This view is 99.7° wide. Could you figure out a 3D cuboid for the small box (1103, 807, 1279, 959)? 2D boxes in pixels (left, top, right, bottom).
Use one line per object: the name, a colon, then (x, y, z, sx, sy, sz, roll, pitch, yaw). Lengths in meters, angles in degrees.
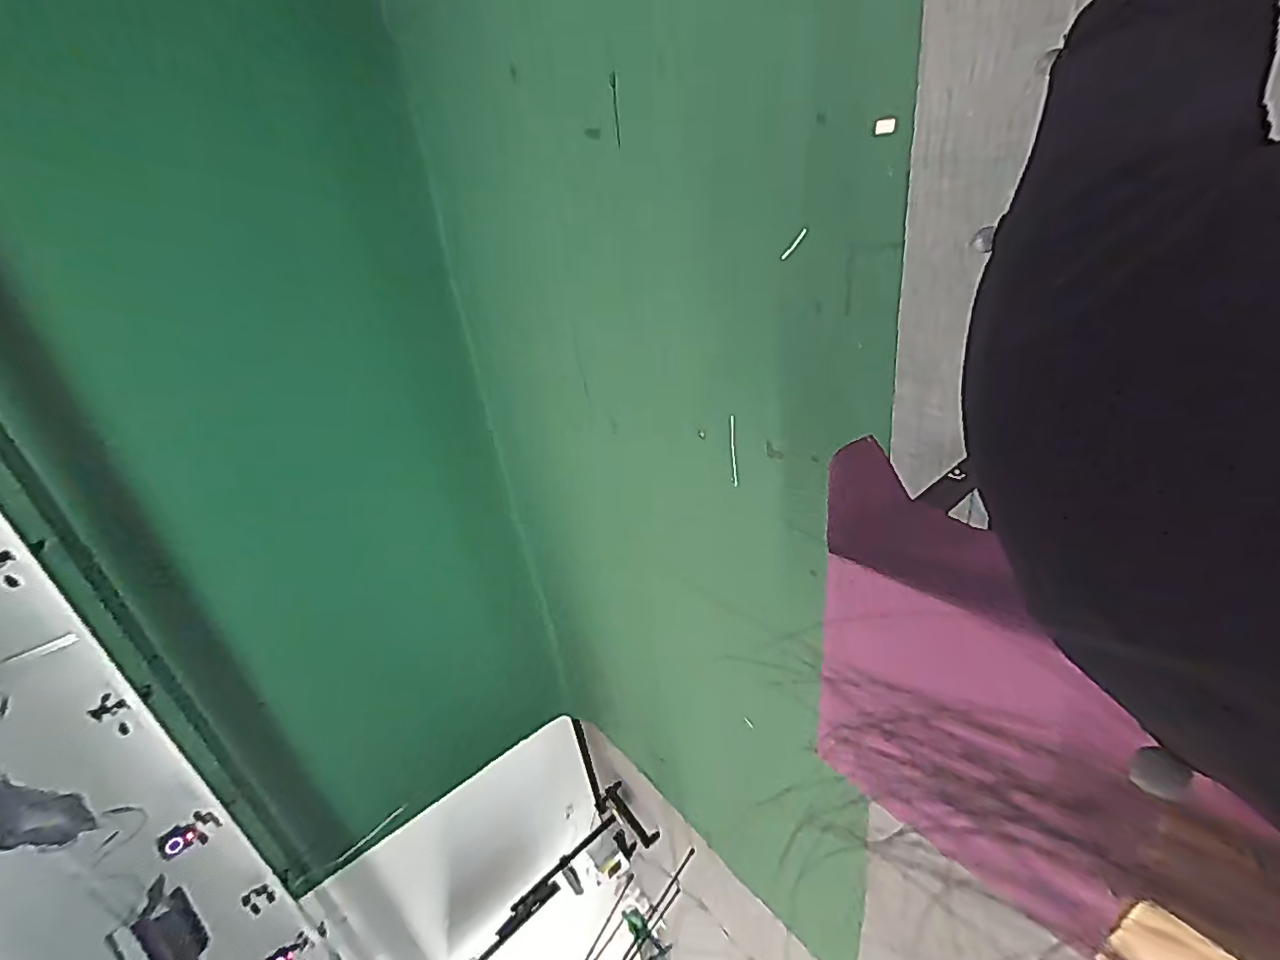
small box: (0.714, 0.552, 0.654, 0.168, 0.176, 0.179, 28, 133, 43)
